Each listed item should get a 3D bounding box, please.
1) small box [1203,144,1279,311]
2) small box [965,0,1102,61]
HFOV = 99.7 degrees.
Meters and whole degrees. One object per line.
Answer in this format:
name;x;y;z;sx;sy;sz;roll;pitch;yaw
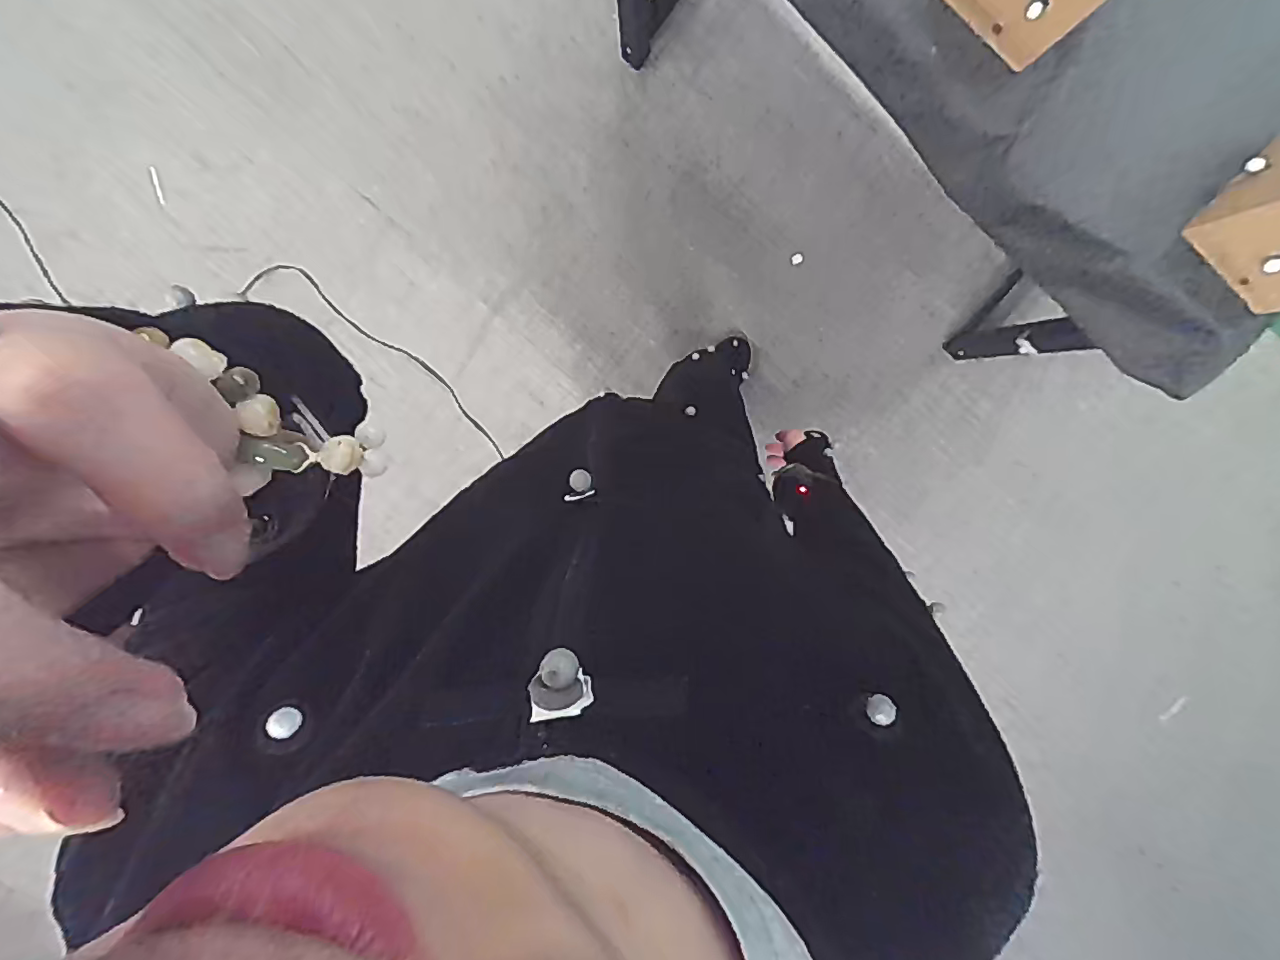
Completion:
small box;0.844;-0.326;0.641;0.168;0.176;0.179;43;98;-4
small box;0.483;-0.628;0.595;0.168;0.176;0.179;39;97;-7
